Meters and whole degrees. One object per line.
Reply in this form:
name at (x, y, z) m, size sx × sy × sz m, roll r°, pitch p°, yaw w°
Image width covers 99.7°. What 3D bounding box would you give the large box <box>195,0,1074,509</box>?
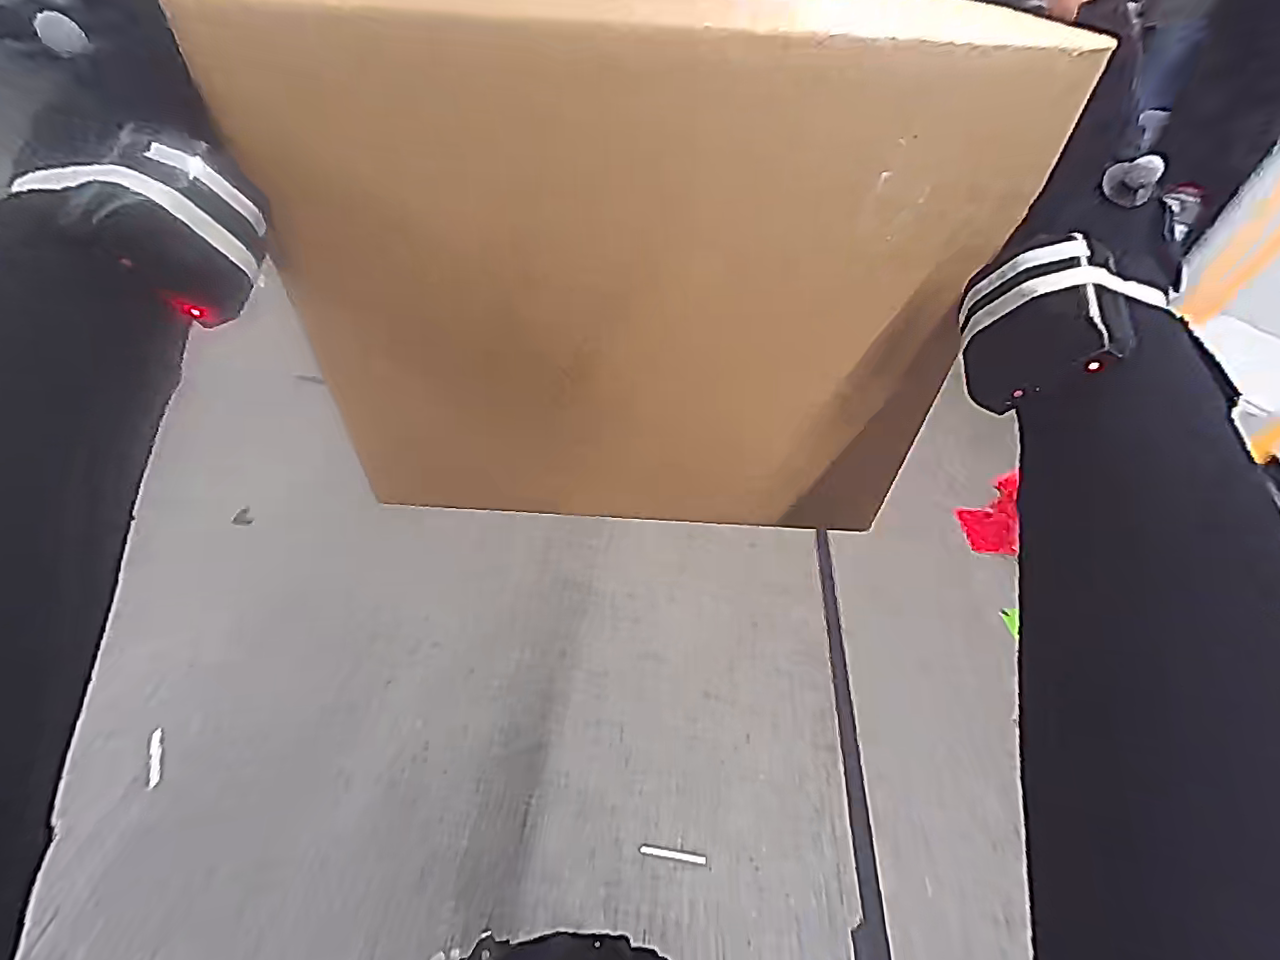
large box at (-0.006, -0.192, 0.447) m, size 0.408 × 0.320 × 0.320 m, roll 3°, pitch 44°, yaw -1°
